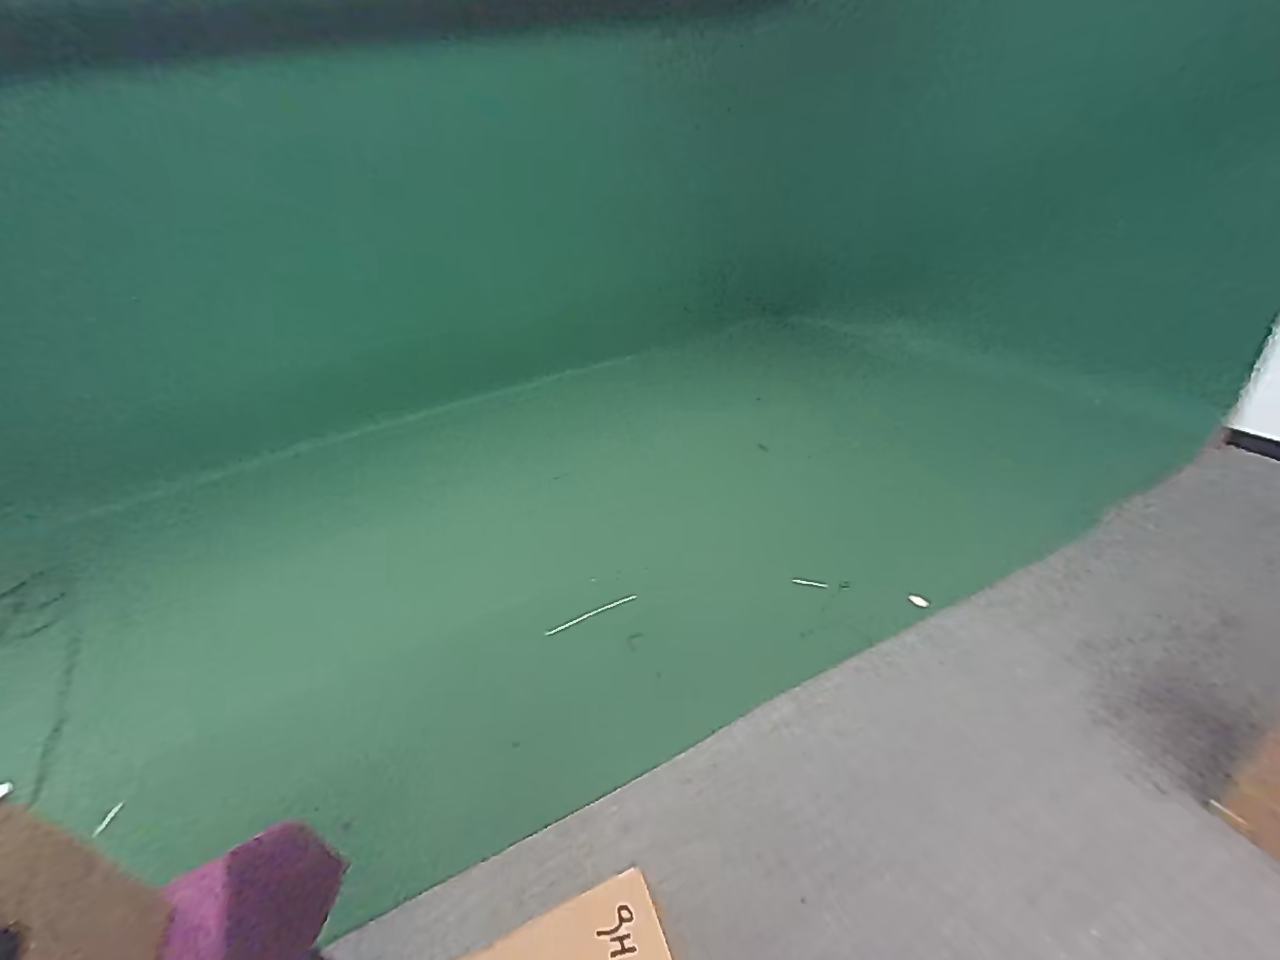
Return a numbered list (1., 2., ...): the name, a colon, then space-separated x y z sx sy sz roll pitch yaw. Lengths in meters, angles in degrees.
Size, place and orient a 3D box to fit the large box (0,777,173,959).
1. large box: -0.780 0.586 0.500 0.408 0.320 0.320 -19 35 -18
